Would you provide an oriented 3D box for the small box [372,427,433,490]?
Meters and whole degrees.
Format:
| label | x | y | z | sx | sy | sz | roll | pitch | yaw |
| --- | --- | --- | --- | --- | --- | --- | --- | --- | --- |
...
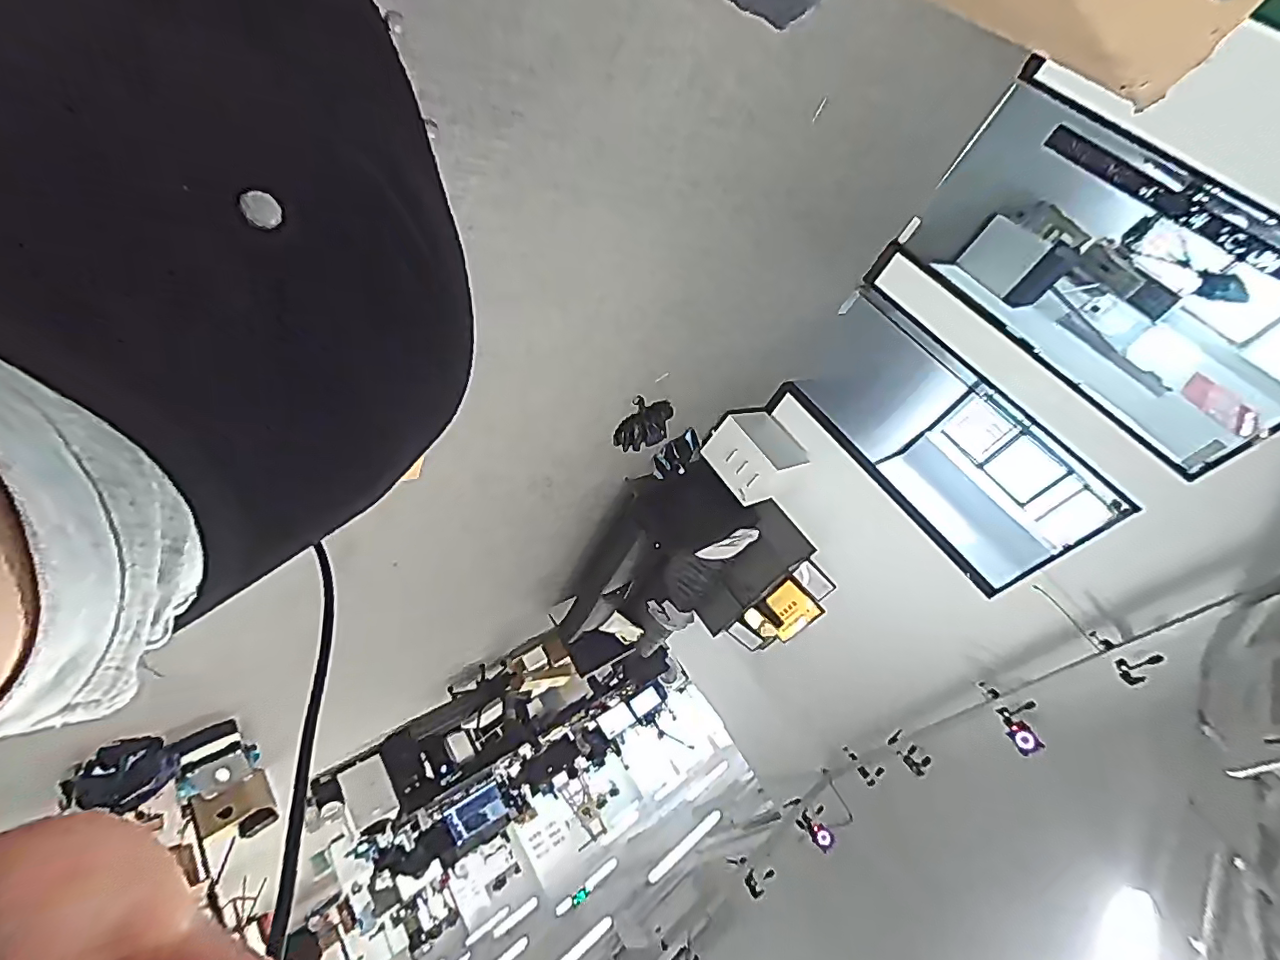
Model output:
| label | x | y | z | sx | sy | sz | roll | pitch | yaw |
| --- | --- | --- | --- | --- | --- | --- | --- | --- | --- |
| small box | -0.958 | -0.091 | 2.169 | 0.168 | 0.176 | 0.179 | -16 | 148 | -43 |
